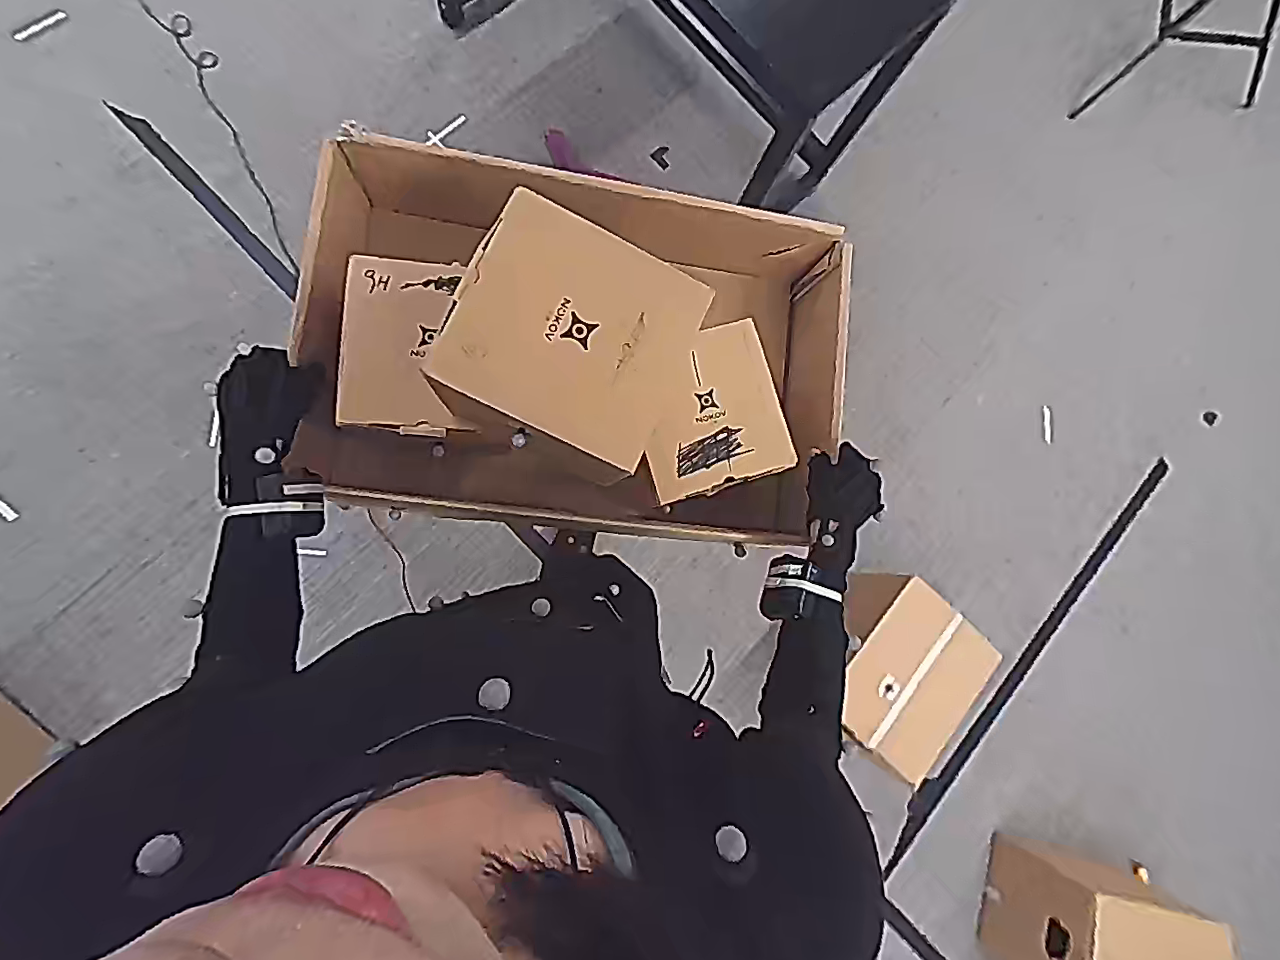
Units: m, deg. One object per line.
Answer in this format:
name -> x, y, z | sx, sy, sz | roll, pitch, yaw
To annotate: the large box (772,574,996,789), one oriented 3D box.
large box -> 0.638, 0.507, 1.462 | 0.320, 0.320, 0.408 | 42, 78, -1
